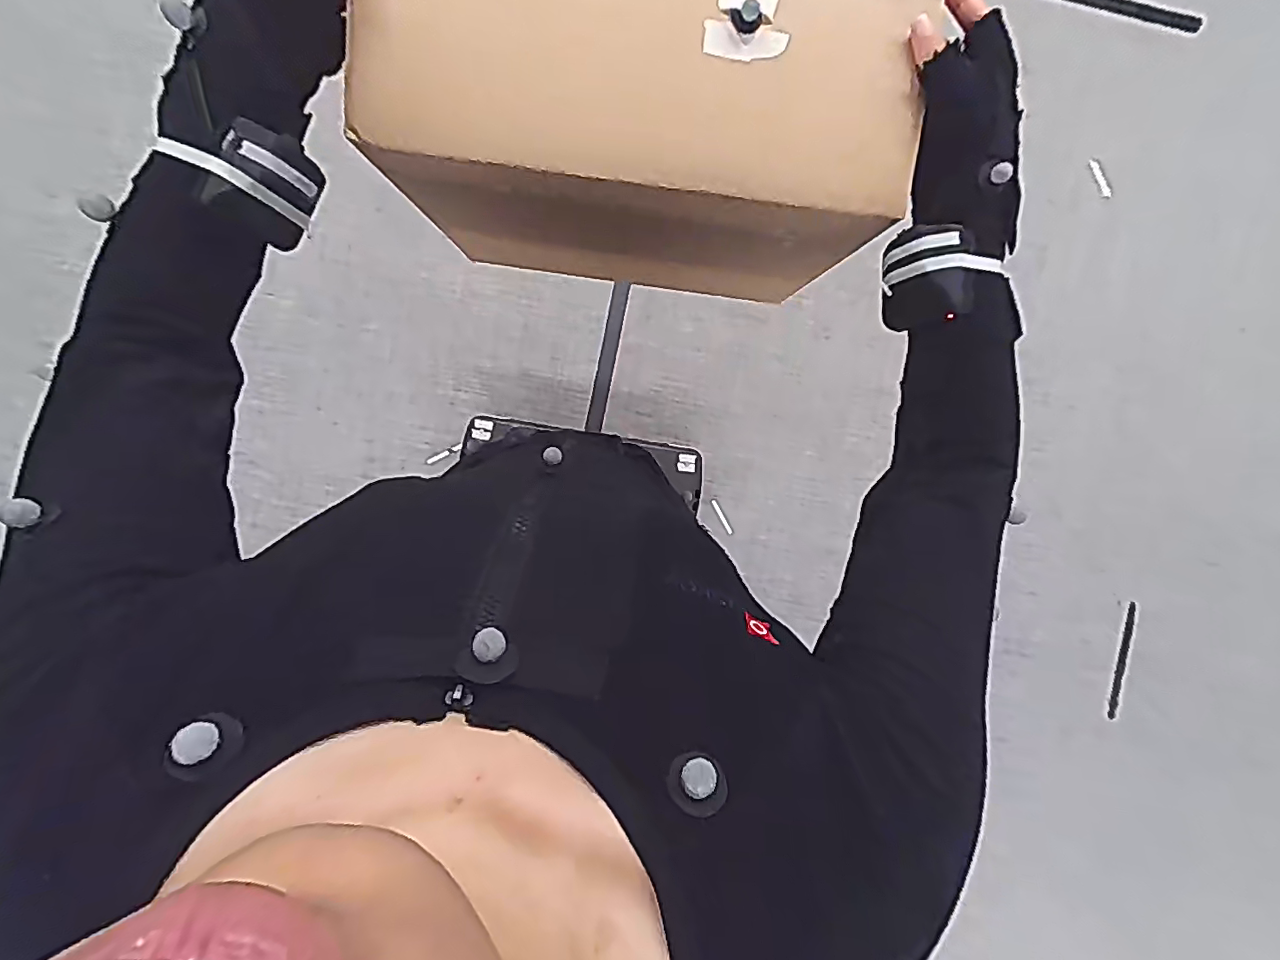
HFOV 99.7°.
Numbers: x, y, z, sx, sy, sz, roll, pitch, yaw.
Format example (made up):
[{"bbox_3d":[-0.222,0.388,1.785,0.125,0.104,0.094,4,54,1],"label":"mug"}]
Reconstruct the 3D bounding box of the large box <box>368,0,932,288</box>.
[{"bbox_3d":[0.008,-0.397,0.526,0.408,0.320,0.320,6,98,-3],"label":"large box"}]

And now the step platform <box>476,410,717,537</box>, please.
[{"bbox_3d":[-0.122,-0.019,1.574,0.684,0.204,0.286,8,93,-4],"label":"step platform"}]
